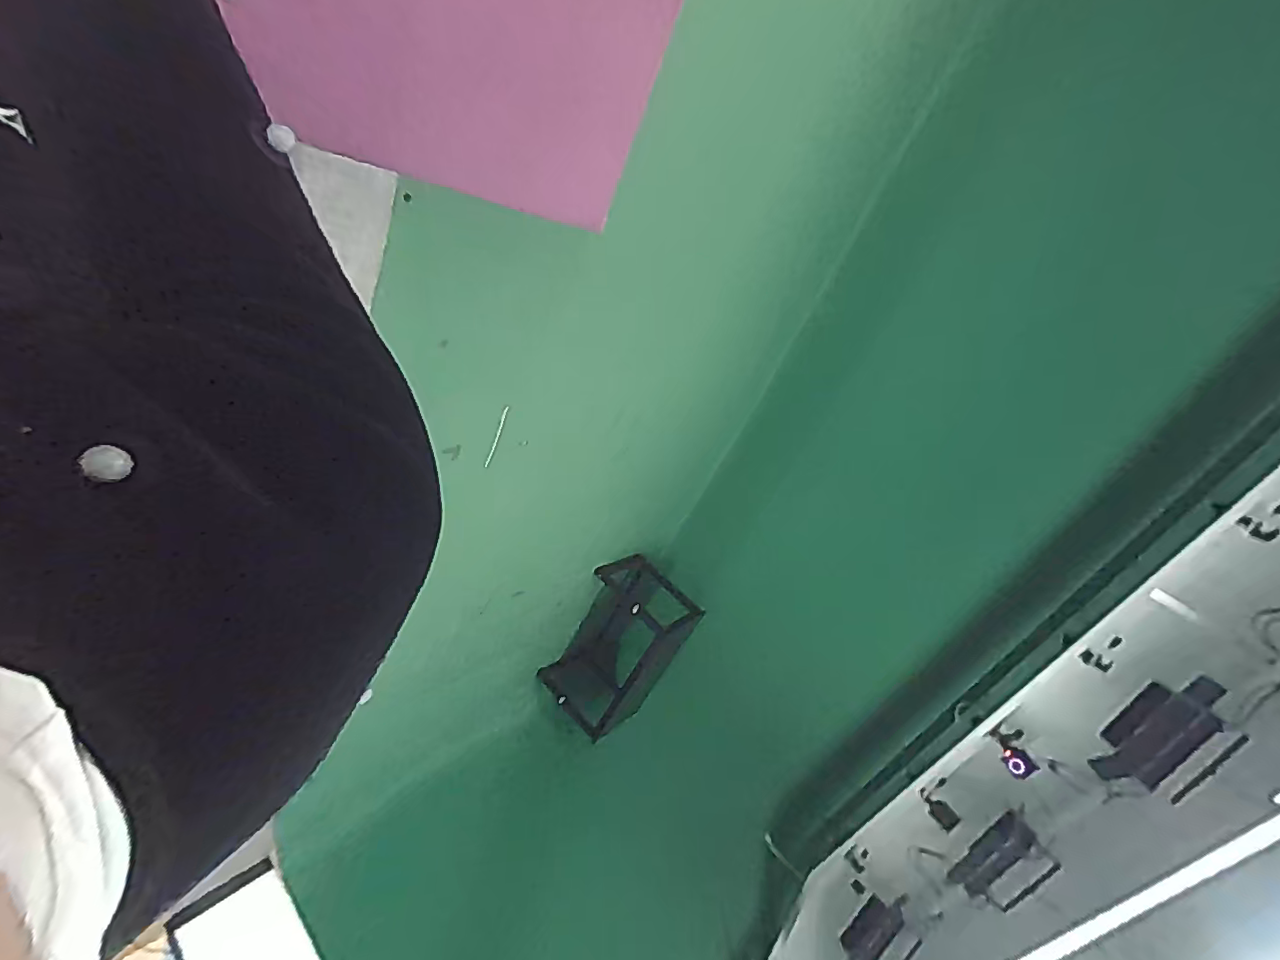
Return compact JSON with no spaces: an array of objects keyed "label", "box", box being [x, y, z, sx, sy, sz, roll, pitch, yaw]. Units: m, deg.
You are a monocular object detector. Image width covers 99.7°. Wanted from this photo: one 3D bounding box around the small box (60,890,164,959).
[{"label":"small box","box":[-1.412,1.256,1.446,0.168,0.176,0.179,-11,135,-55]}]
